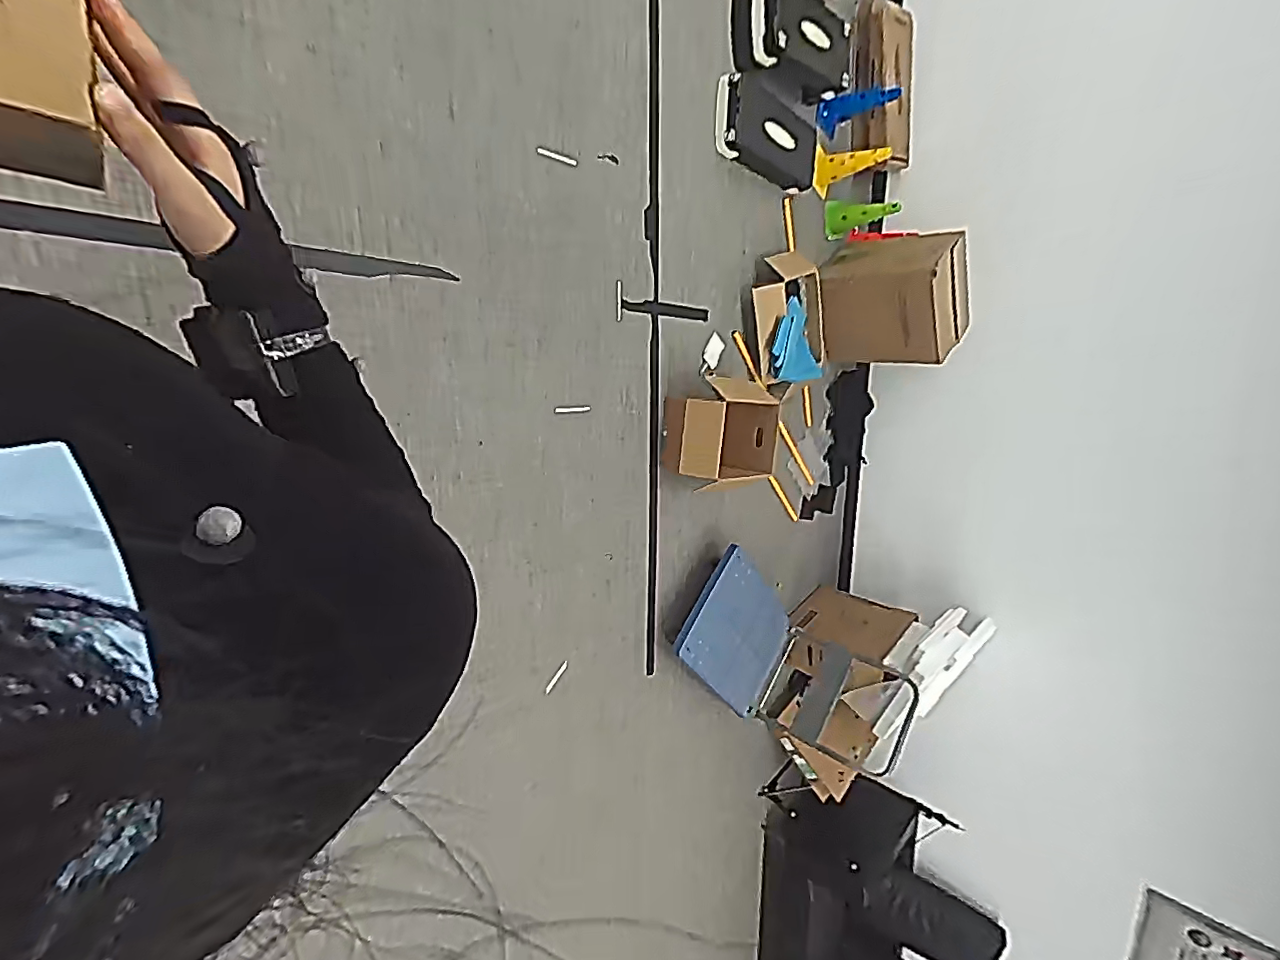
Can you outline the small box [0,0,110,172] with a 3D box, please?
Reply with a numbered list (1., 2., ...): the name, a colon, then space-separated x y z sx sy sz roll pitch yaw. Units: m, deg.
1. small box: -0.376 -0.277 0.259 0.168 0.176 0.179 -4 103 -43
